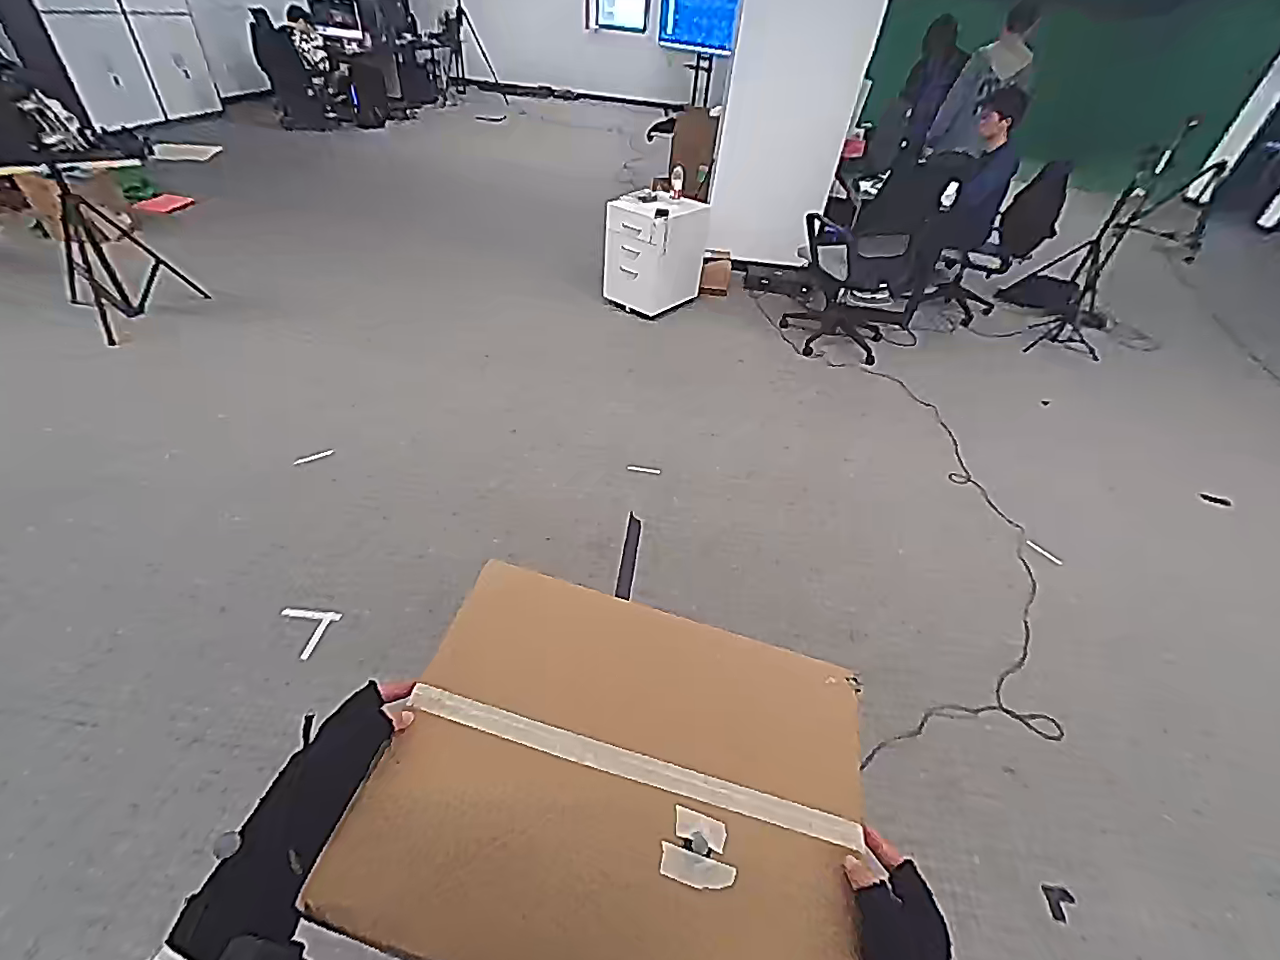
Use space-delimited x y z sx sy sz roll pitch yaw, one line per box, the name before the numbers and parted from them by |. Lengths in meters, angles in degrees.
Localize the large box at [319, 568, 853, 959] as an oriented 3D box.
large box | -0.034 0.353 0.585 0.408 0.320 0.320 17 46 3
